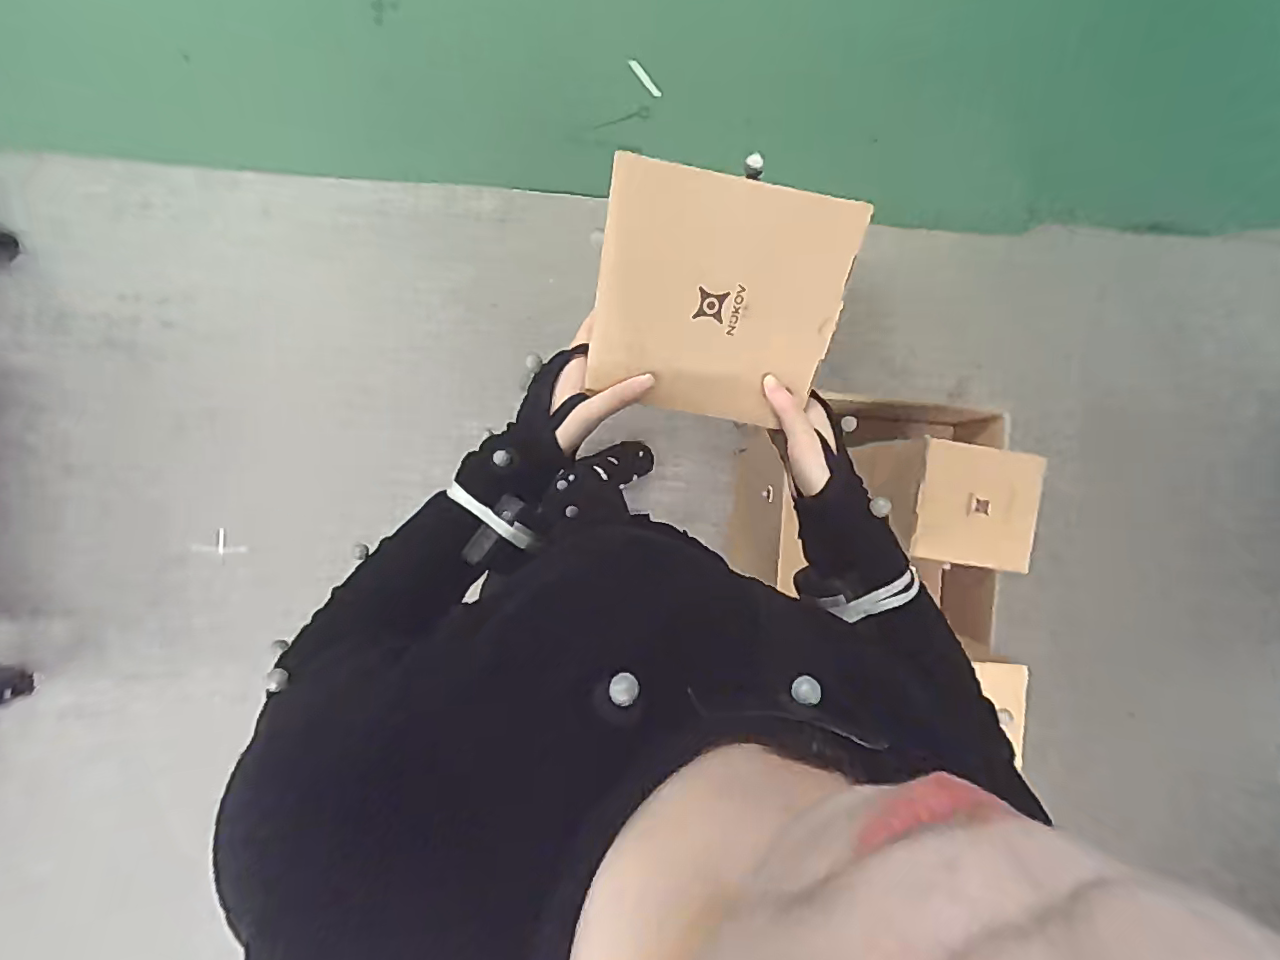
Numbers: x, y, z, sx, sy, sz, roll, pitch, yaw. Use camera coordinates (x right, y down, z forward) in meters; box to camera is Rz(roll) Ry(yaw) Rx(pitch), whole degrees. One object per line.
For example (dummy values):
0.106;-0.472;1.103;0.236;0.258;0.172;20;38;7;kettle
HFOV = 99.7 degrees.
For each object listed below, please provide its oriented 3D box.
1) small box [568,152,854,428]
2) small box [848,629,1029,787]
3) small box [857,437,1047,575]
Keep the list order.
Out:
0.044;-0.161;0.456;0.179;0.176;0.168;8;118;-5;small box
0.435;0.330;0.815;0.179;0.176;0.168;5;91;-4;small box
0.454;0.035;0.816;0.179;0.176;0.168;10;91;-5;small box
